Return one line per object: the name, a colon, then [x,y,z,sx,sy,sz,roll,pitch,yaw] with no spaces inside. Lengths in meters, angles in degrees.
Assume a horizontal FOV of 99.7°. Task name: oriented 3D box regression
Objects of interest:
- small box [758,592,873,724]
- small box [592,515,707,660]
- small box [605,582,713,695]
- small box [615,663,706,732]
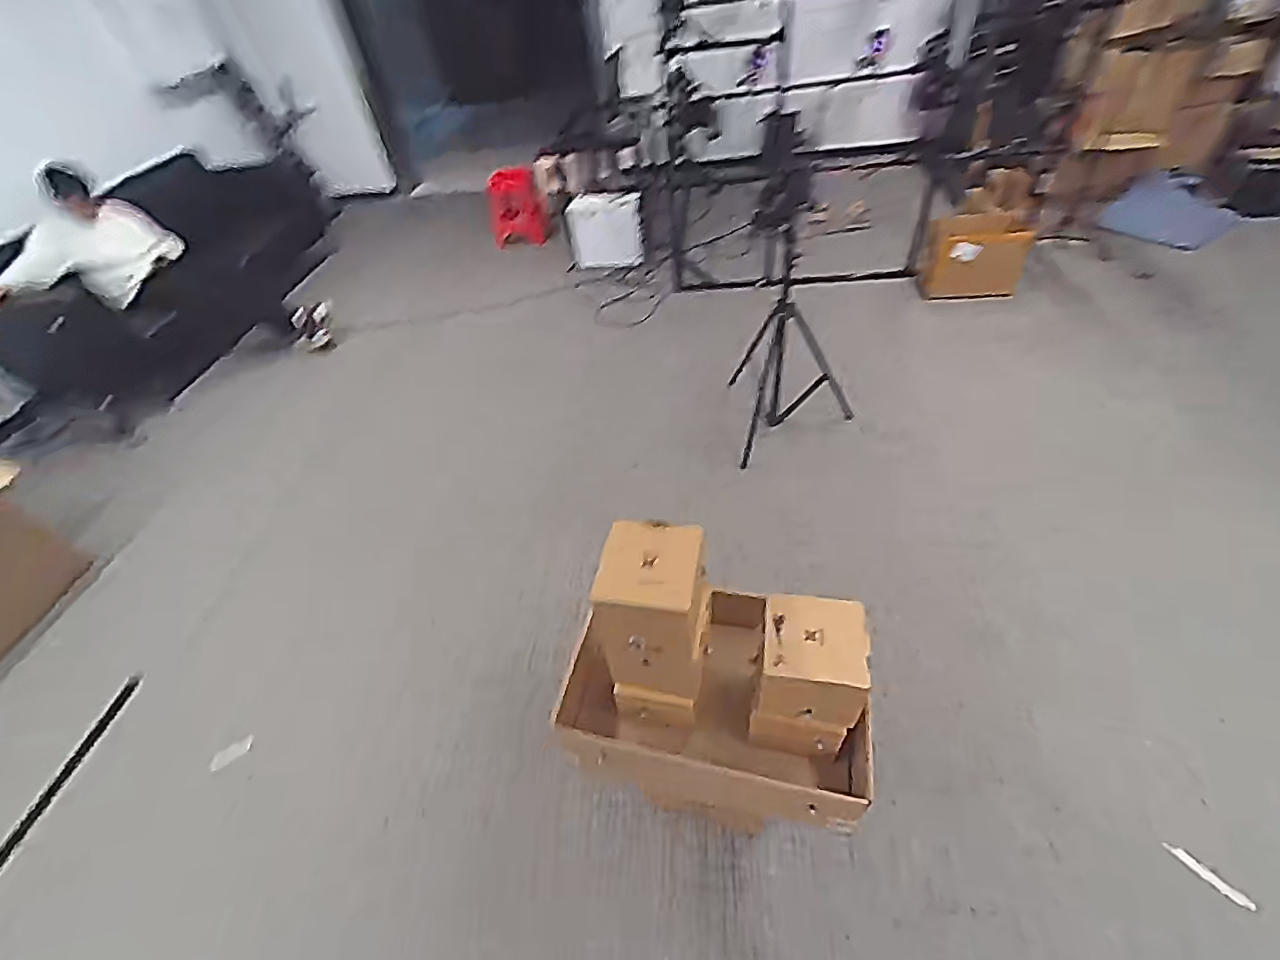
small box: [0.318,0.333,1.003,0.179,0.176,0.168,5,46,13]
small box: [0.025,0.189,0.958,0.168,0.176,0.179,5,45,13]
small box: [0.045,0.304,1.073,0.179,0.176,0.168,8,47,13]
small box: [0.053,0.425,1.184,0.168,0.176,0.179,6,46,12]
